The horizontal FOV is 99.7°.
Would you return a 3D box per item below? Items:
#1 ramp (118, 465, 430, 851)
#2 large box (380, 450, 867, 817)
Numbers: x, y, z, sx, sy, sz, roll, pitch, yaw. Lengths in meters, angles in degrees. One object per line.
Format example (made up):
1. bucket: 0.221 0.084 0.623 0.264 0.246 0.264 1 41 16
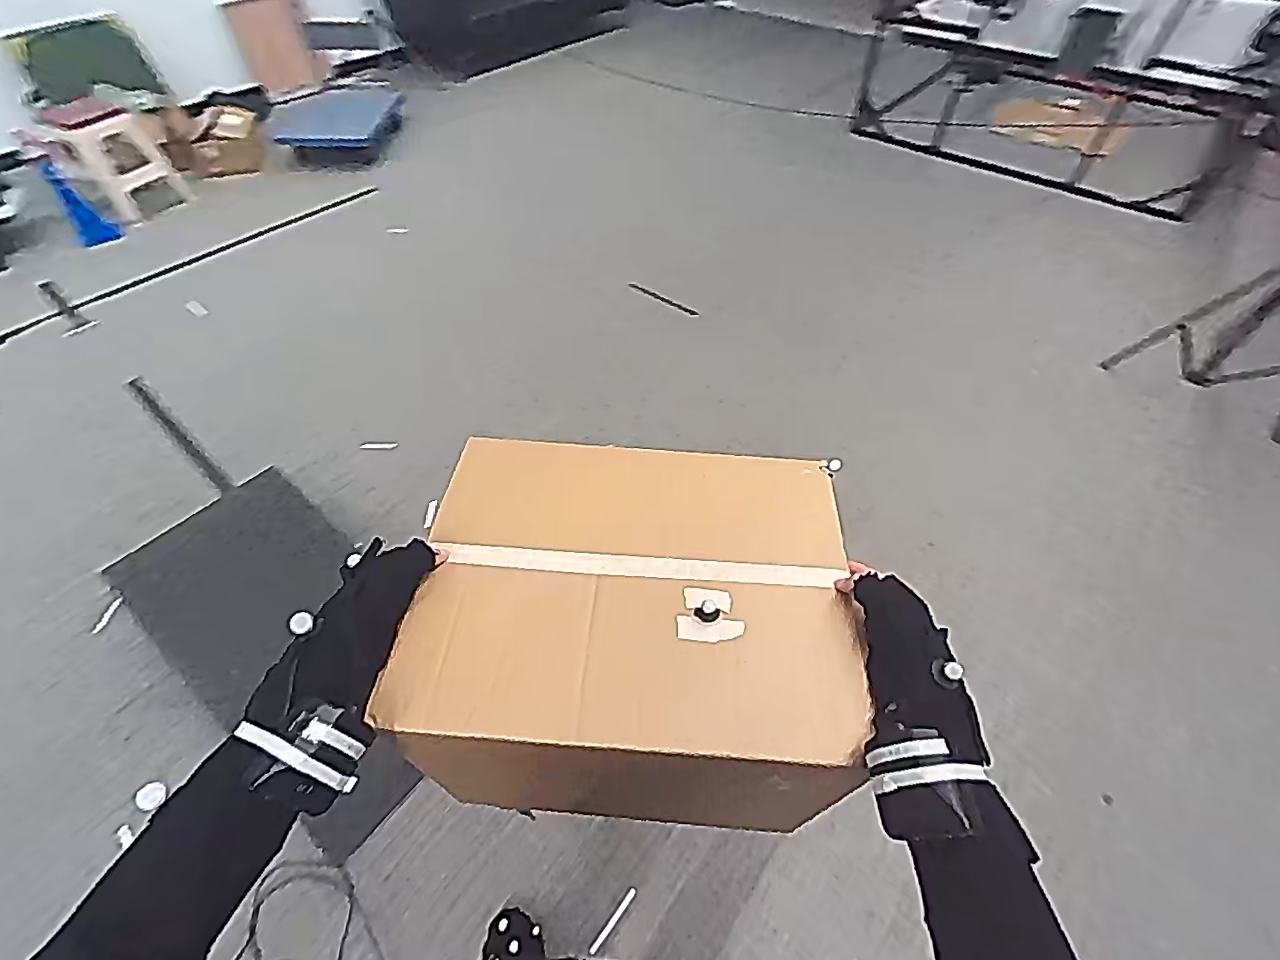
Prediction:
1. ramp: -0.883 0.398 1.458 0.991 0.206 0.509 32 57 22
2. large box: -0.013 0.186 0.641 0.408 0.320 0.320 3 50 1
